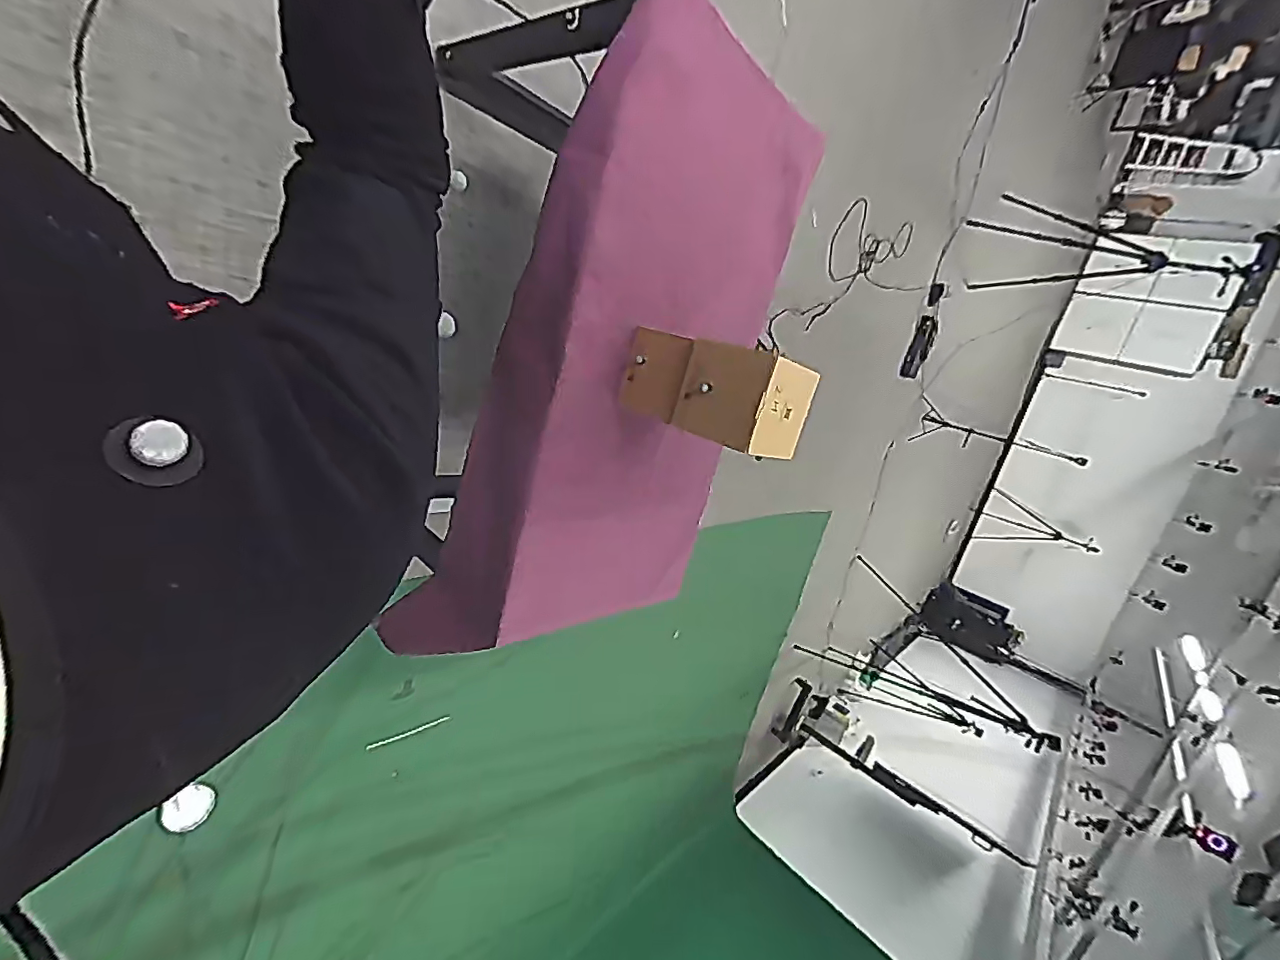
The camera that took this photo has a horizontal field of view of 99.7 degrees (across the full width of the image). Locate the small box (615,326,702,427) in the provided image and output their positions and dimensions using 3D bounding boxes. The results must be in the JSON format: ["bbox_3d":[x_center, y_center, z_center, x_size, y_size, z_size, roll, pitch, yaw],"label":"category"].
[{"bbox_3d":[0.081,-0.201,1.091,0.179,0.176,0.168,5,106,-50],"label":"small box"}]

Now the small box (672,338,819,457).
[{"bbox_3d":[0.188,-0.149,0.977,0.179,0.176,0.168,3,107,-50],"label":"small box"}]
